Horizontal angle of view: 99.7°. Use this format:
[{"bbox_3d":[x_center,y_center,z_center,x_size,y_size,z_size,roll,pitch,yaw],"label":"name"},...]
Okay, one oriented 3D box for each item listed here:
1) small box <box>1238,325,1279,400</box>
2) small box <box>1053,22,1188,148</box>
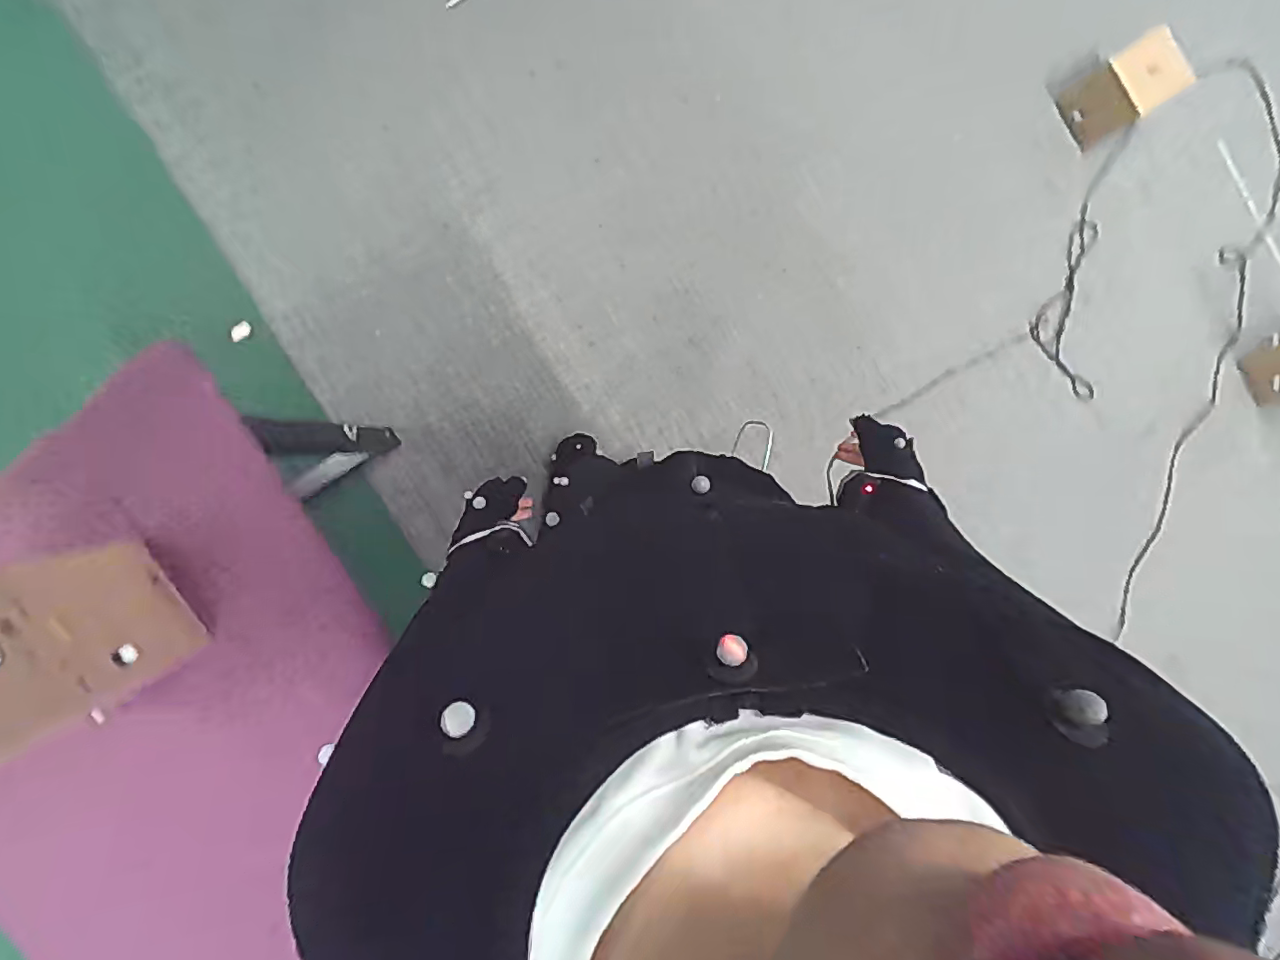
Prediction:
[{"bbox_3d":[1.847,-0.334,1.510,0.179,0.176,0.168,-34,98,0],"label":"small box"},{"bbox_3d":[1.265,-1.037,1.435,0.179,0.176,0.168,-35,94,-1],"label":"small box"}]
